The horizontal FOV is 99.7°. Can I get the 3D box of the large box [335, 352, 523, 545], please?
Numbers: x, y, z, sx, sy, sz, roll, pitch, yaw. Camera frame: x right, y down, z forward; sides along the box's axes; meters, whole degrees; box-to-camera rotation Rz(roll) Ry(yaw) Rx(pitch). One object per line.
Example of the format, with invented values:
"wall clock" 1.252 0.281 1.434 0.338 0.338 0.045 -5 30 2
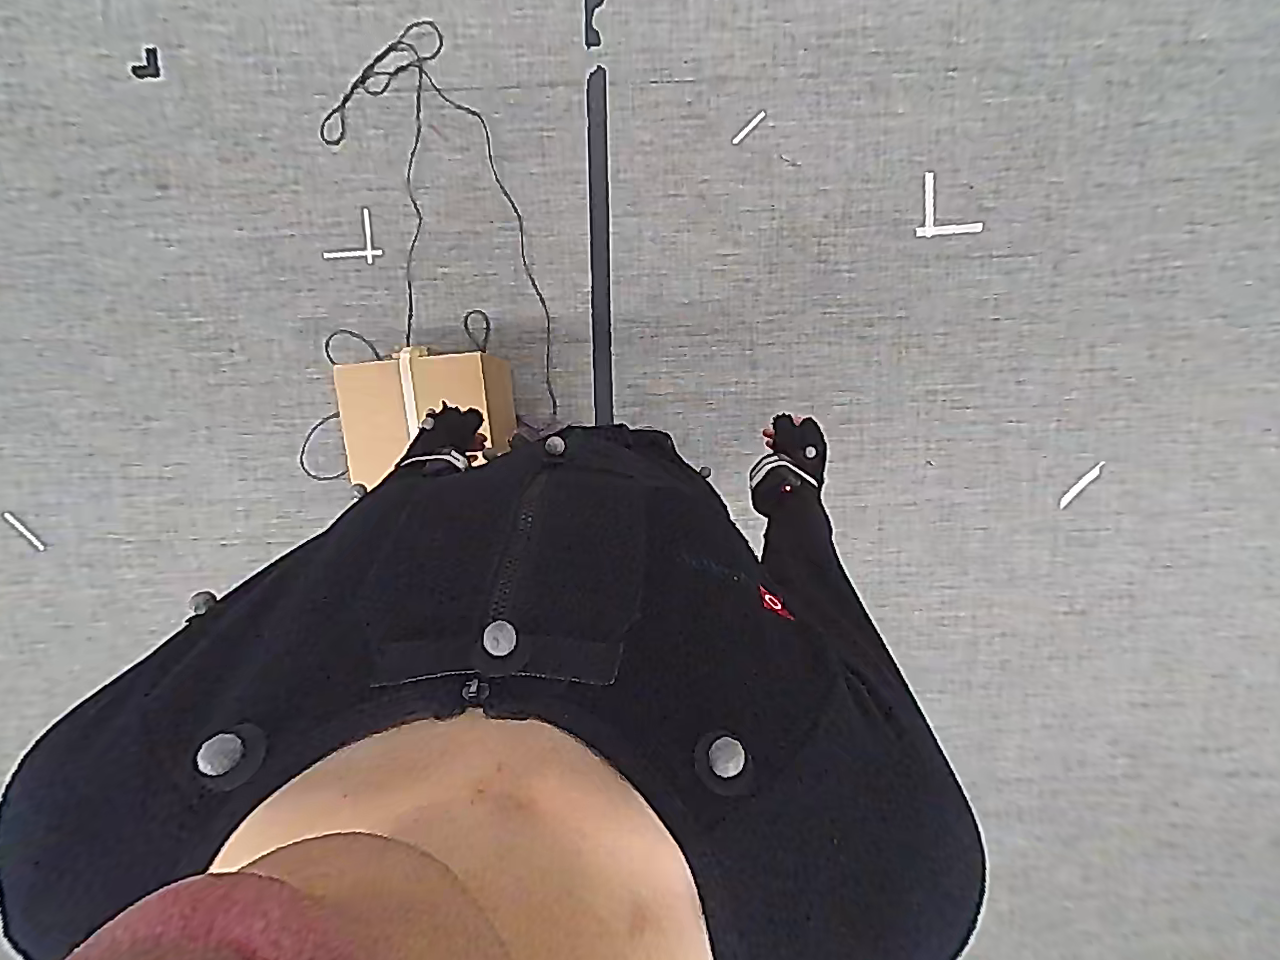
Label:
"large box" -0.485 -0.088 1.327 0.320 0.320 0.408 -6 99 -1
